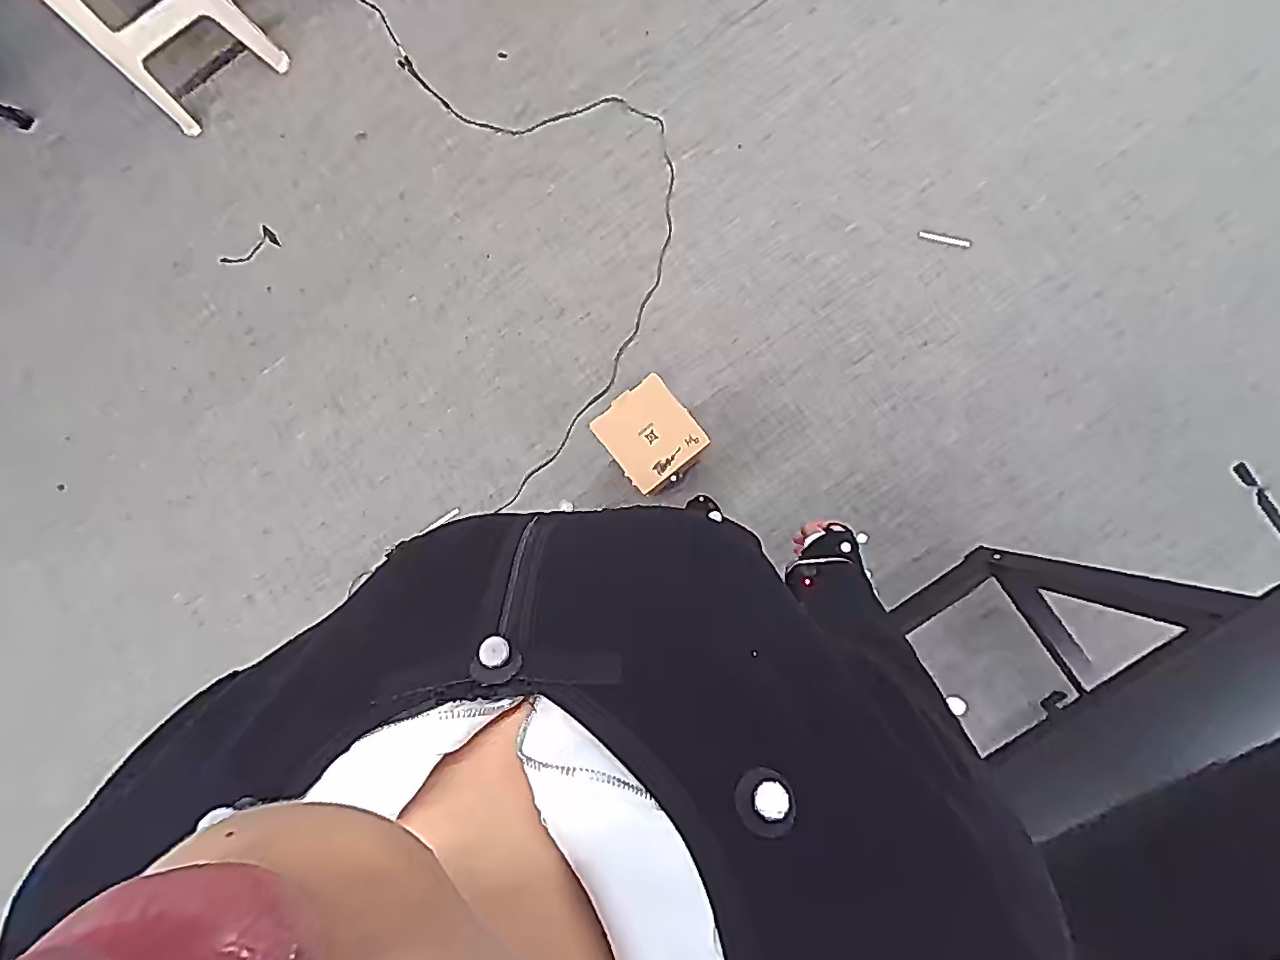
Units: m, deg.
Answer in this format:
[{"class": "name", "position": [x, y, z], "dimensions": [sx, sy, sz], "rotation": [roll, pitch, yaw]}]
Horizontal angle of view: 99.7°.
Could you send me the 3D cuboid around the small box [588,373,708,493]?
[{"class": "small box", "position": [0.018, -0.085, 1.104], "dimensions": [0.168, 0.176, 0.179], "rotation": [-39, 86, 2]}]
